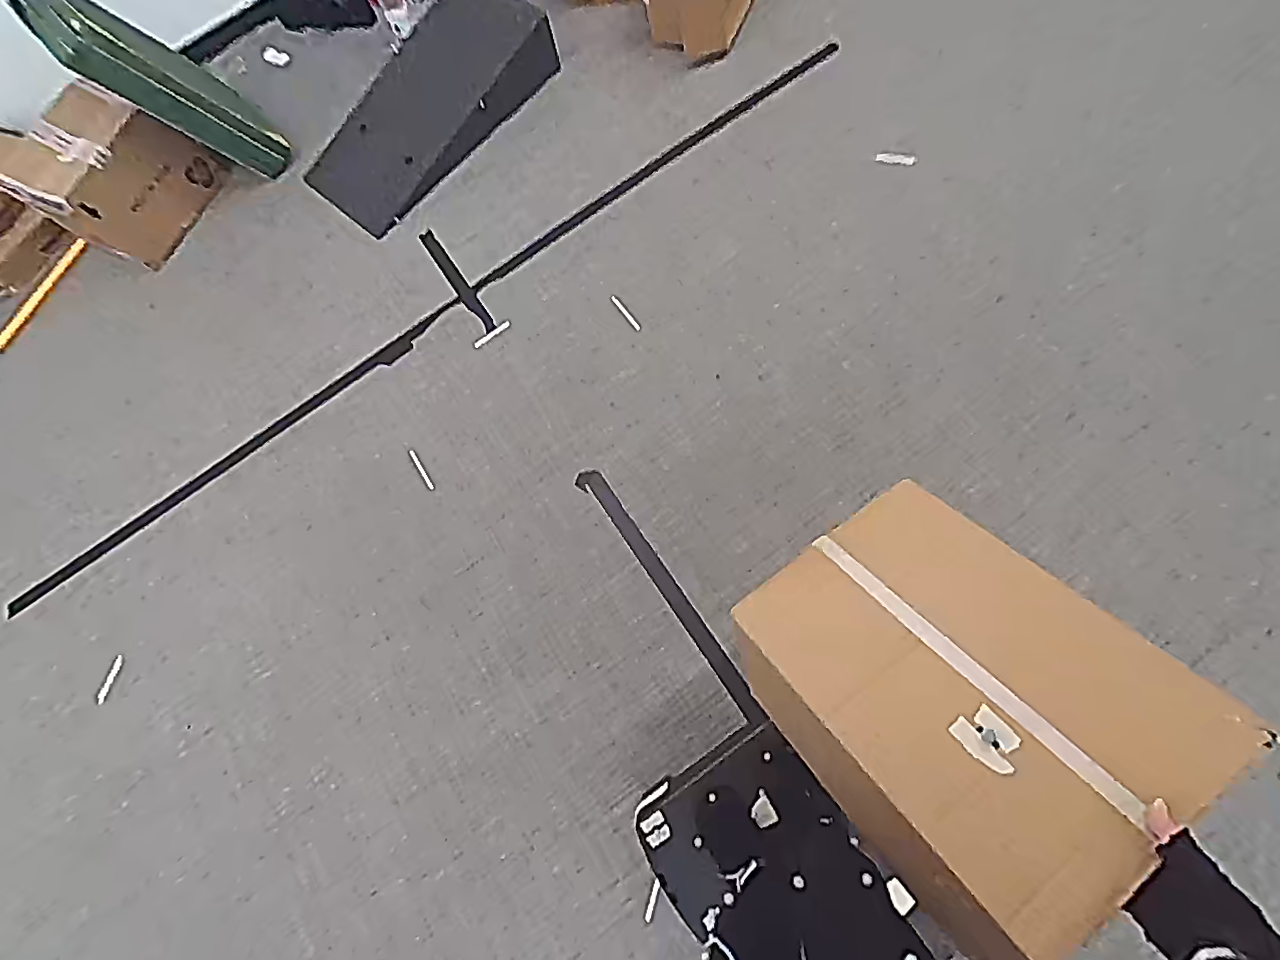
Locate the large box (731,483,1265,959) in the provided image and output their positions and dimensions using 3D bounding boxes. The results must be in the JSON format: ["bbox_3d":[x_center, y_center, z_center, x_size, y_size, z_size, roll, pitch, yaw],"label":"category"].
[{"bbox_3d":[0.375,0.285,0.696,0.320,0.320,0.408,-36,51,-10],"label":"large box"}]

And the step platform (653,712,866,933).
[{"bbox_3d":[0.362,0.639,1.203,0.684,0.204,0.286,-37,71,-5],"label":"step platform"}]
